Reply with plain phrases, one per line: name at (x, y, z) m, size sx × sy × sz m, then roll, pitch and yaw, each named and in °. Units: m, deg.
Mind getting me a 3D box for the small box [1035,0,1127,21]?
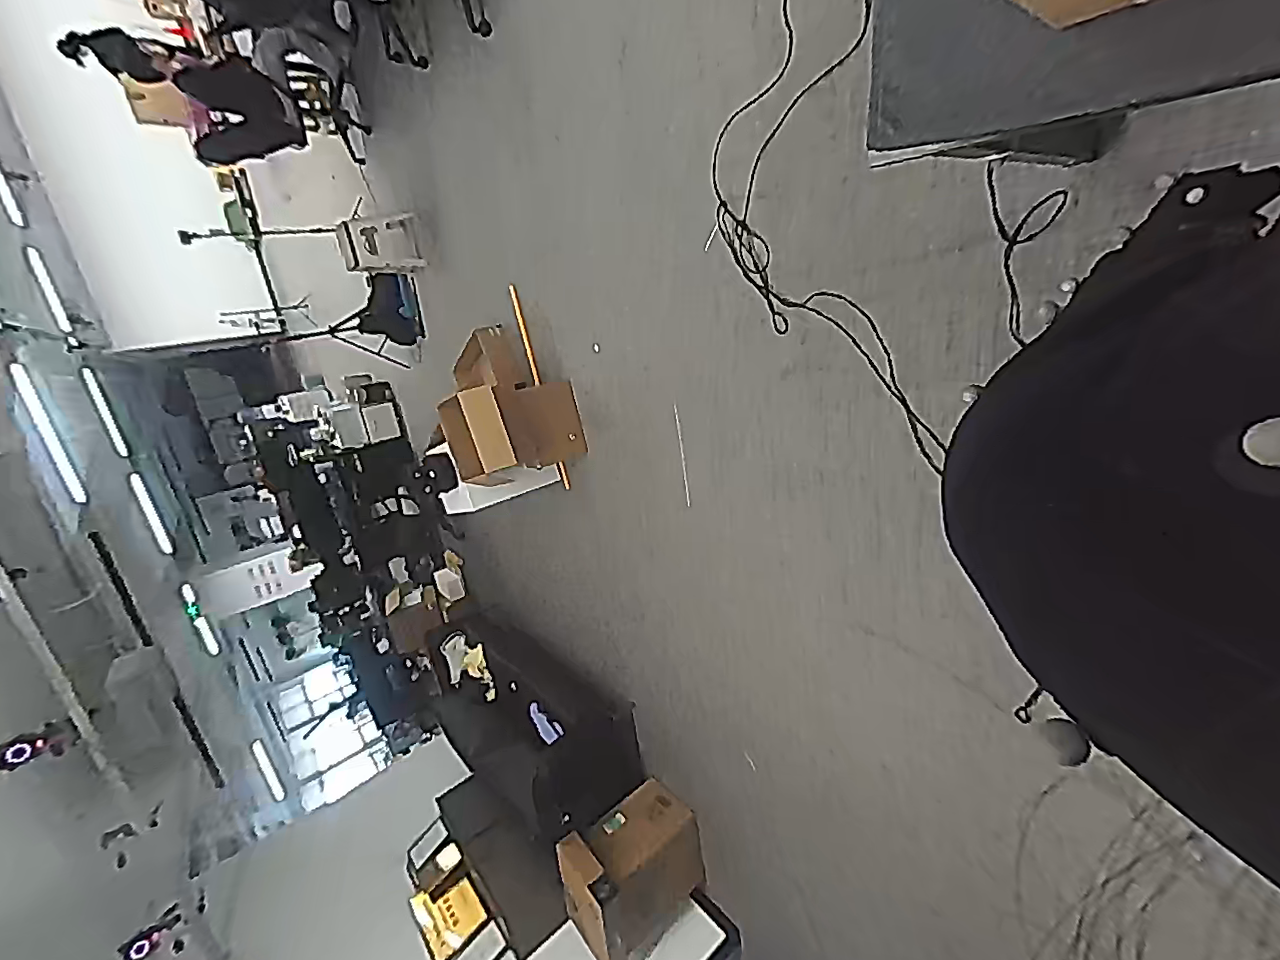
small box at (0.400, -0.502, 0.413) m, size 0.168 × 0.176 × 0.179 m, roll 19°, pitch 121°, yaw 48°
